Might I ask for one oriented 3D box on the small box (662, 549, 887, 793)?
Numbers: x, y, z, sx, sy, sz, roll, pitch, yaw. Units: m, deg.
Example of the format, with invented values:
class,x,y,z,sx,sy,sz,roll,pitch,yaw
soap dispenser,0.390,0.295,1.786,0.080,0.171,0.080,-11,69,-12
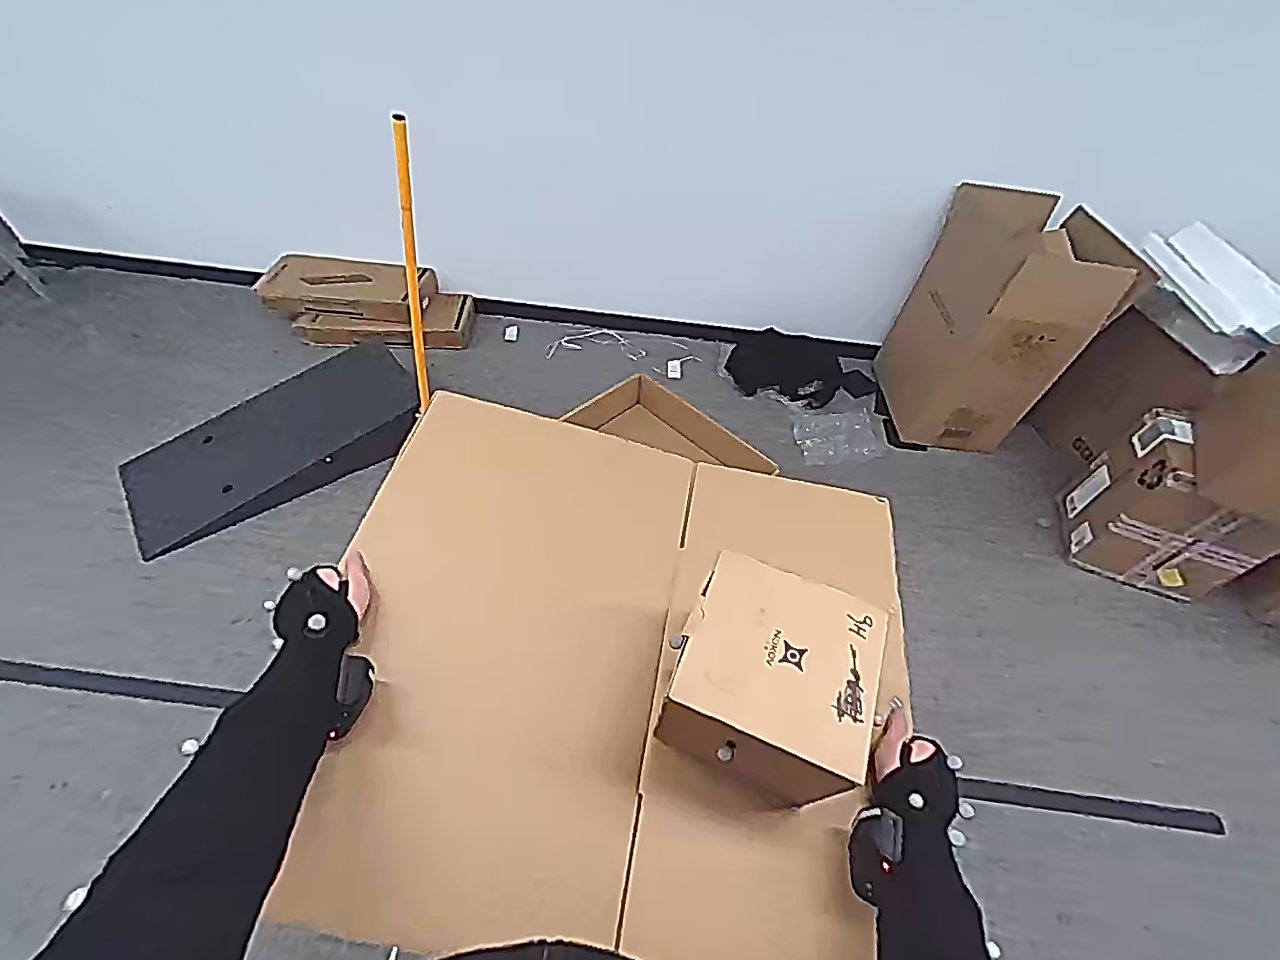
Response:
class,x,y,z,sx,sy,sz,roll,pitch,yaw
small box,0.131,0.207,0.573,0.179,0.176,0.168,20,55,12
